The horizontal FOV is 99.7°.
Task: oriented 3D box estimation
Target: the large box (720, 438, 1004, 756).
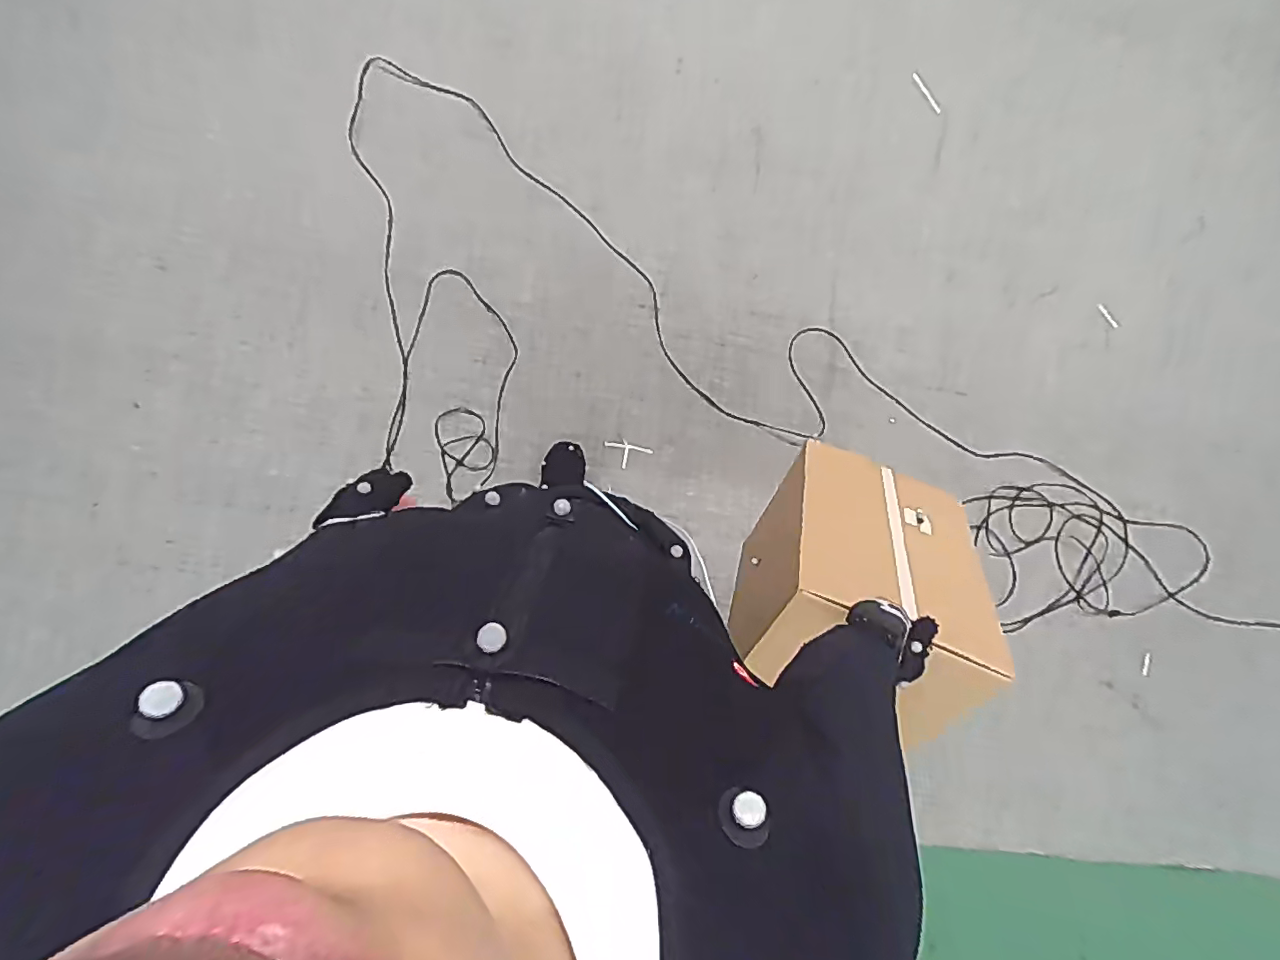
[{"bbox_3d":[0.362,0.197,0.979,0.320,0.408,0.320,24,128,1],"label":"large box"}]
